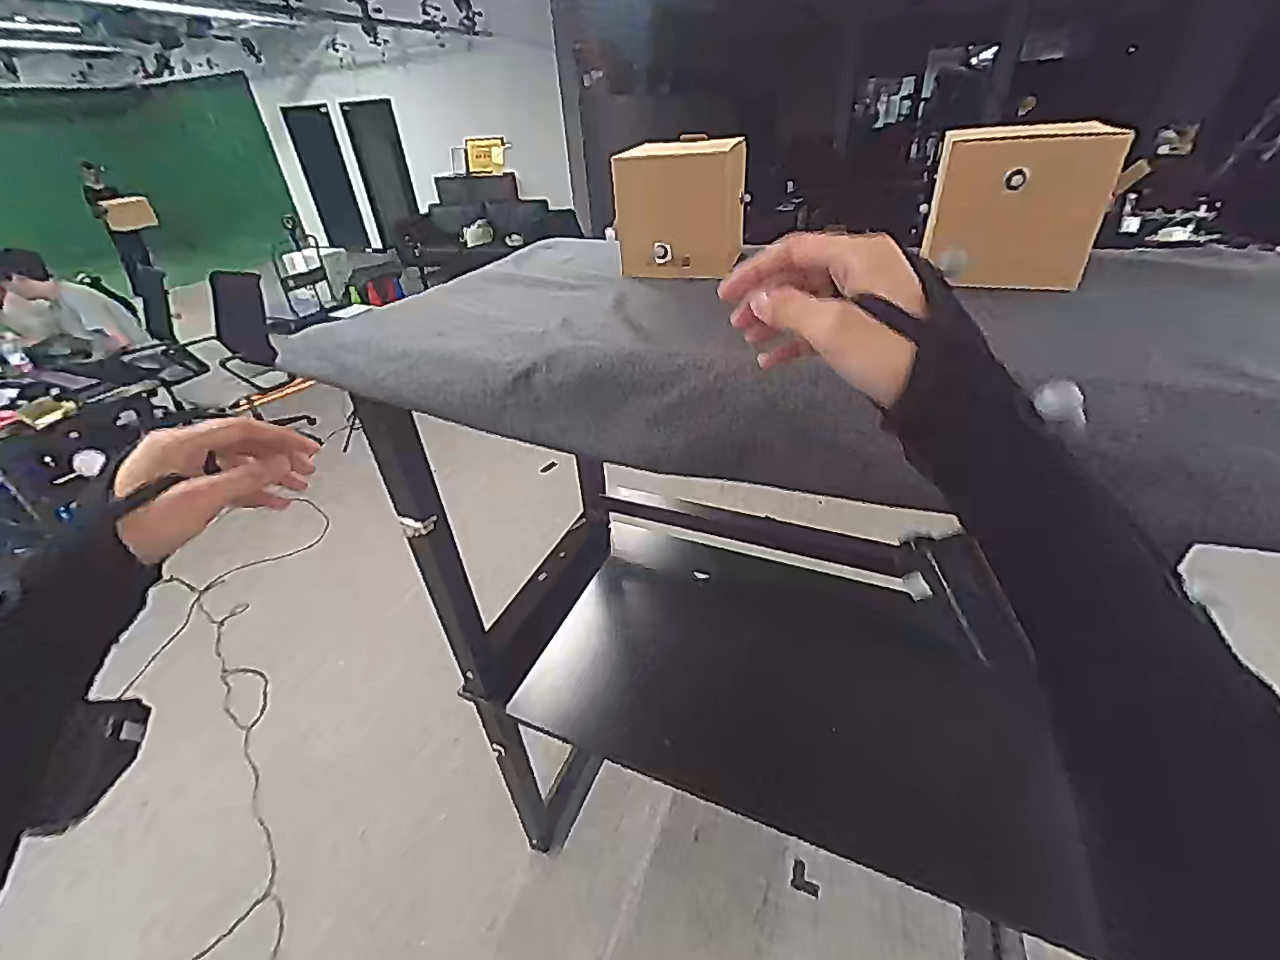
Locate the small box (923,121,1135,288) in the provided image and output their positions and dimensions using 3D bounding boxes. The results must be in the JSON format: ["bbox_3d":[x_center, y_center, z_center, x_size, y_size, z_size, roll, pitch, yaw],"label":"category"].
[{"bbox_3d":[0.477,-0.355,0.698,0.179,0.176,0.168,11,38,21],"label":"small box"}]

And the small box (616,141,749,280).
[{"bbox_3d":[0.072,-0.419,0.838,0.168,0.176,0.179,6,36,17],"label":"small box"}]
